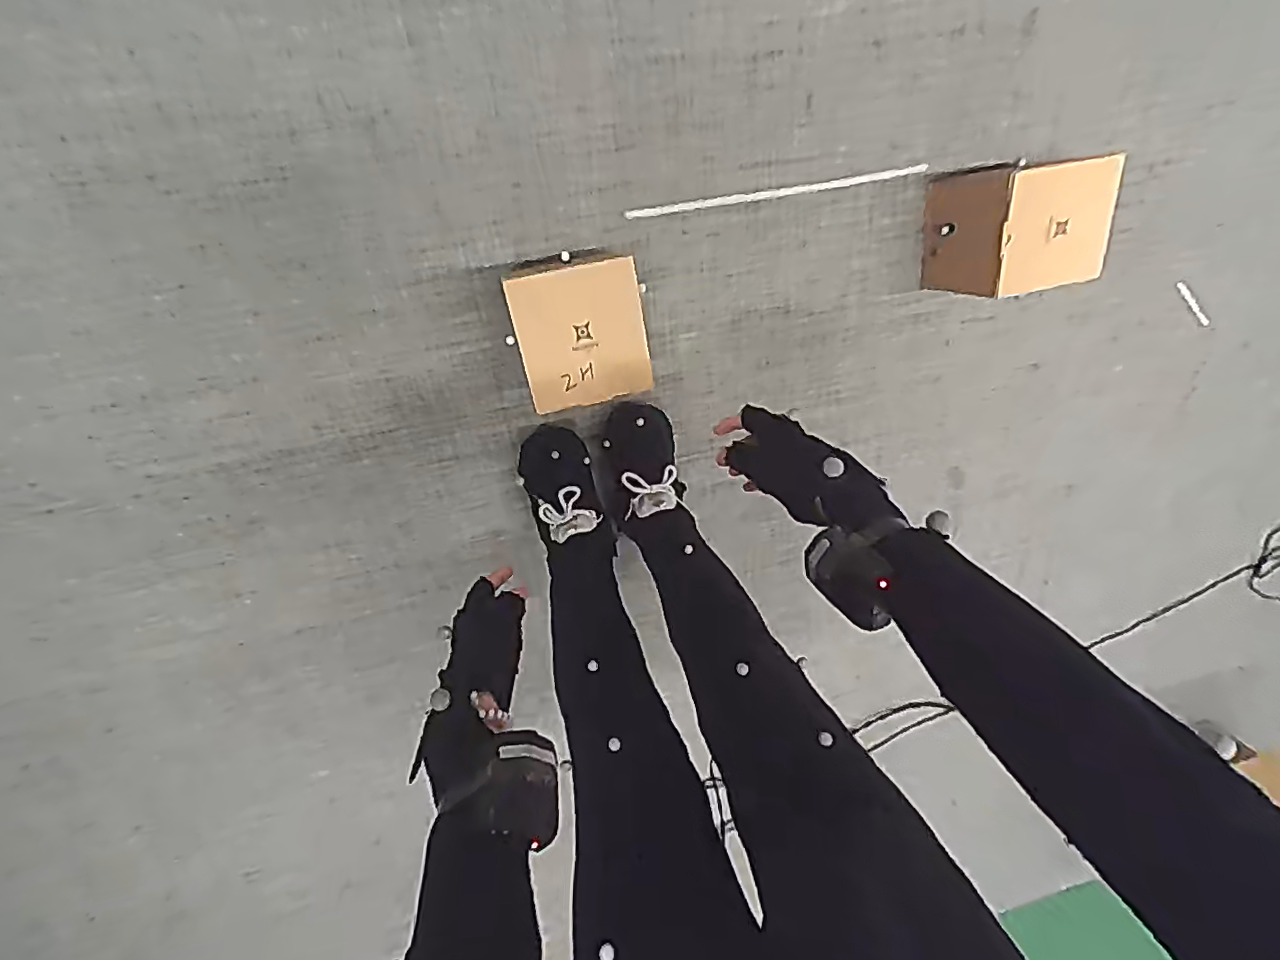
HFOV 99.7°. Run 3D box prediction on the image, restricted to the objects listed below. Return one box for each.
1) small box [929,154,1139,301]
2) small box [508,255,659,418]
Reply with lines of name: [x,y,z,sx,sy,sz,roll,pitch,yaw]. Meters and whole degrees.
small box: [0.578,-0.381,0.817,0.179,0.176,0.168,-13,117,-6]
small box: [-0.082,-0.207,0.750,0.168,0.176,0.179,-14,117,-6]
